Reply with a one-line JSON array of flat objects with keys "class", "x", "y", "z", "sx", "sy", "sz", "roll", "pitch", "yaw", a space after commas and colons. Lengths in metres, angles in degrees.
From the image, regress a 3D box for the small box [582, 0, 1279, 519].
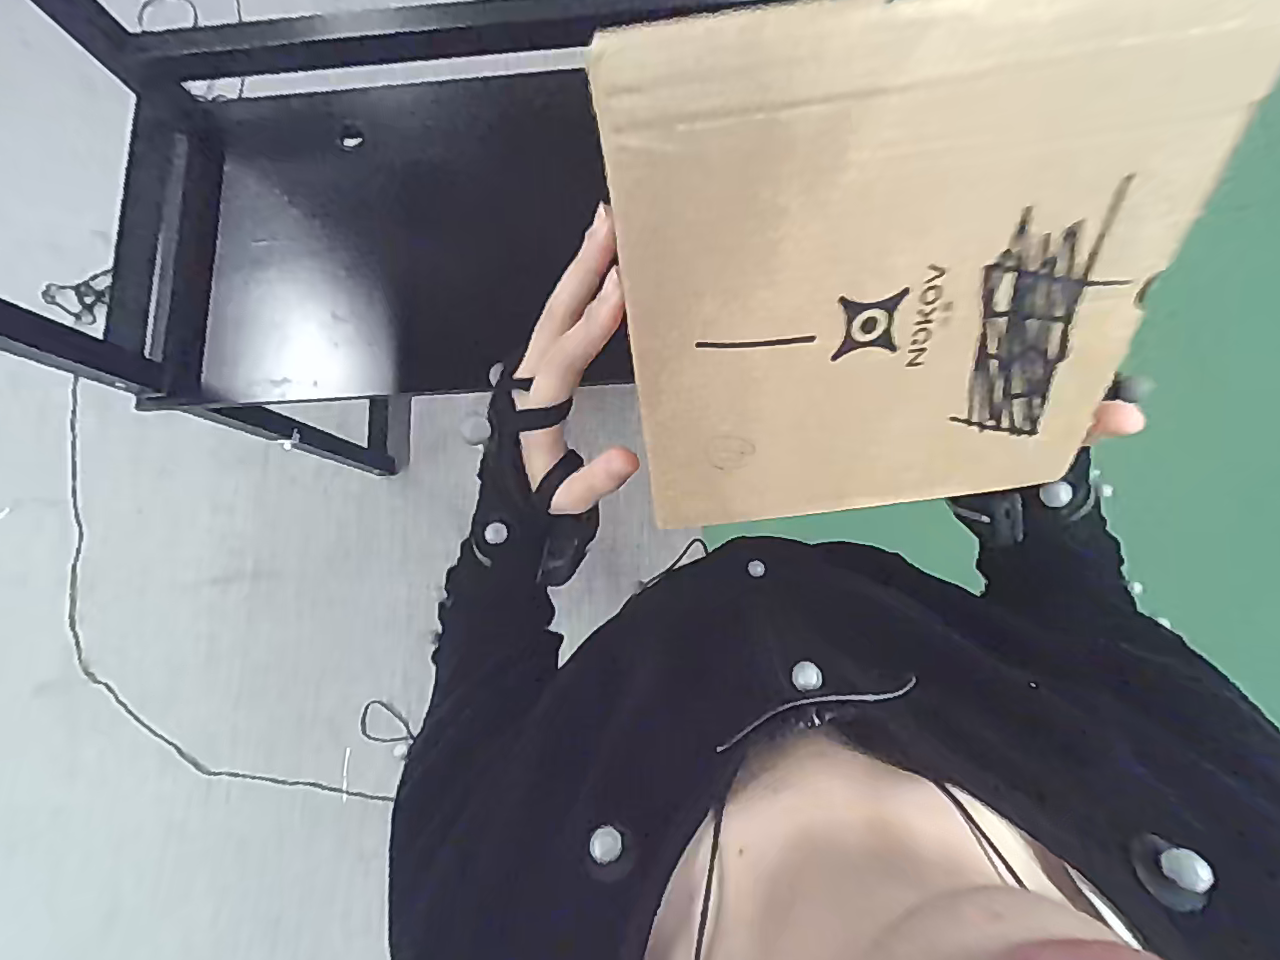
[{"class": "small box", "x": 0.075, "y": -0.105, "z": 0.239, "sx": 0.179, "sy": 0.168, "sz": 0.176, "roll": -6, "pitch": 38, "yaw": 3}]
